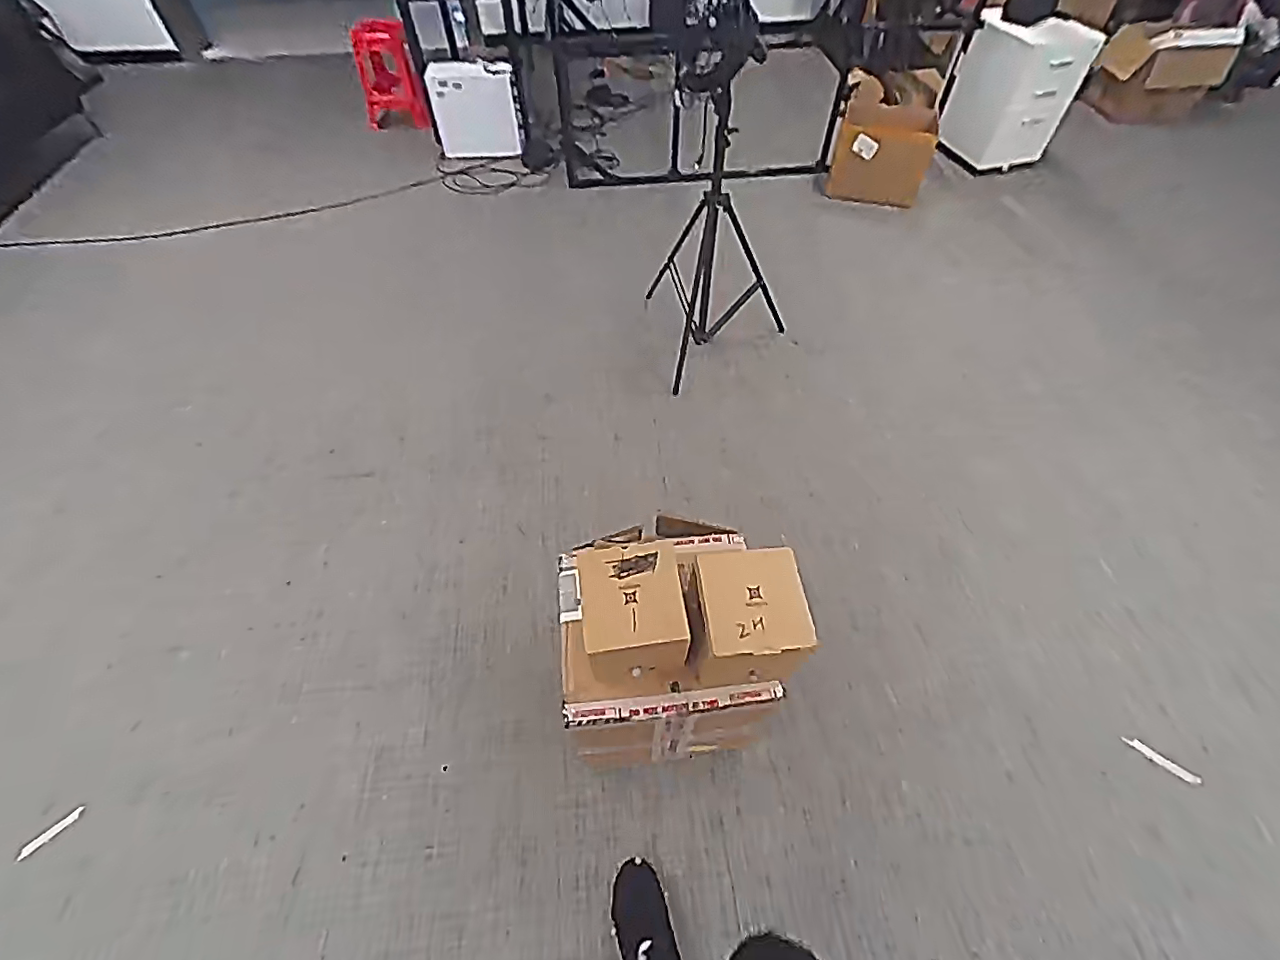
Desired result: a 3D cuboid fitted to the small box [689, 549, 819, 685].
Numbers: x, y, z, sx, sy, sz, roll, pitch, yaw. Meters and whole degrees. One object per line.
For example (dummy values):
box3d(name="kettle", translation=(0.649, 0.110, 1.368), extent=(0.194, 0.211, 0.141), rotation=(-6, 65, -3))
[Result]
box3d(name="small box", translation=(0.183, 0.238, 0.933), extent=(0.168, 0.176, 0.179), rotation=(-4, 56, -4))

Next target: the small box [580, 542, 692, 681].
box3d(name="small box", translation=(-0.011, 0.231, 0.938), extent=(0.168, 0.176, 0.179), rotation=(-8, 58, -3))
